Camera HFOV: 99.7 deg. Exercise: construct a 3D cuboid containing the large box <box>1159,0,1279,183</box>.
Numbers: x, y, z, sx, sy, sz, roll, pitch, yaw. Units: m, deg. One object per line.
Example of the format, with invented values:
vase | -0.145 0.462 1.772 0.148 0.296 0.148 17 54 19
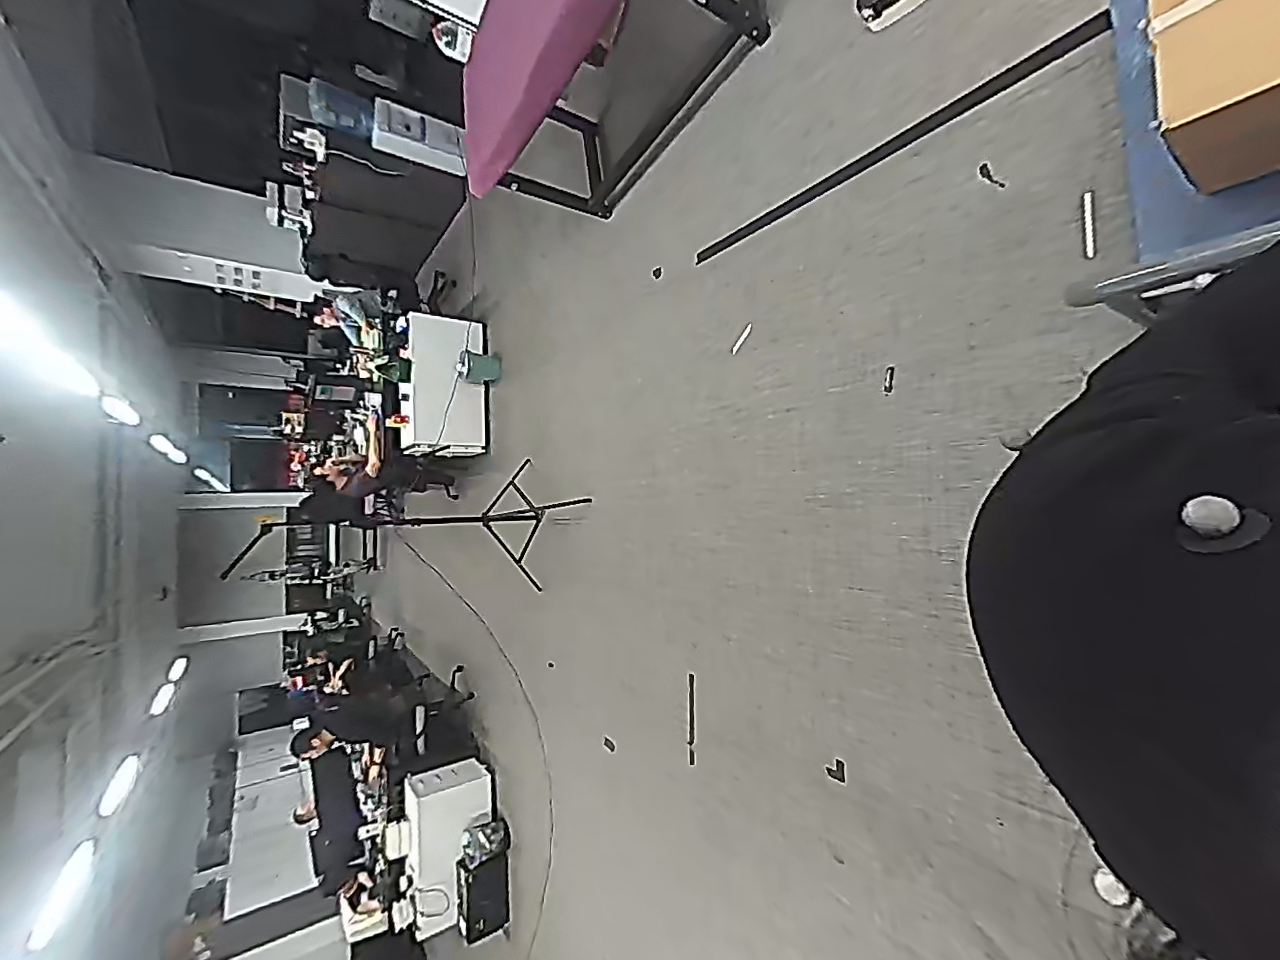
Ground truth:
large box | 1.000 -0.678 0.712 0.408 0.320 0.320 -5 85 56
